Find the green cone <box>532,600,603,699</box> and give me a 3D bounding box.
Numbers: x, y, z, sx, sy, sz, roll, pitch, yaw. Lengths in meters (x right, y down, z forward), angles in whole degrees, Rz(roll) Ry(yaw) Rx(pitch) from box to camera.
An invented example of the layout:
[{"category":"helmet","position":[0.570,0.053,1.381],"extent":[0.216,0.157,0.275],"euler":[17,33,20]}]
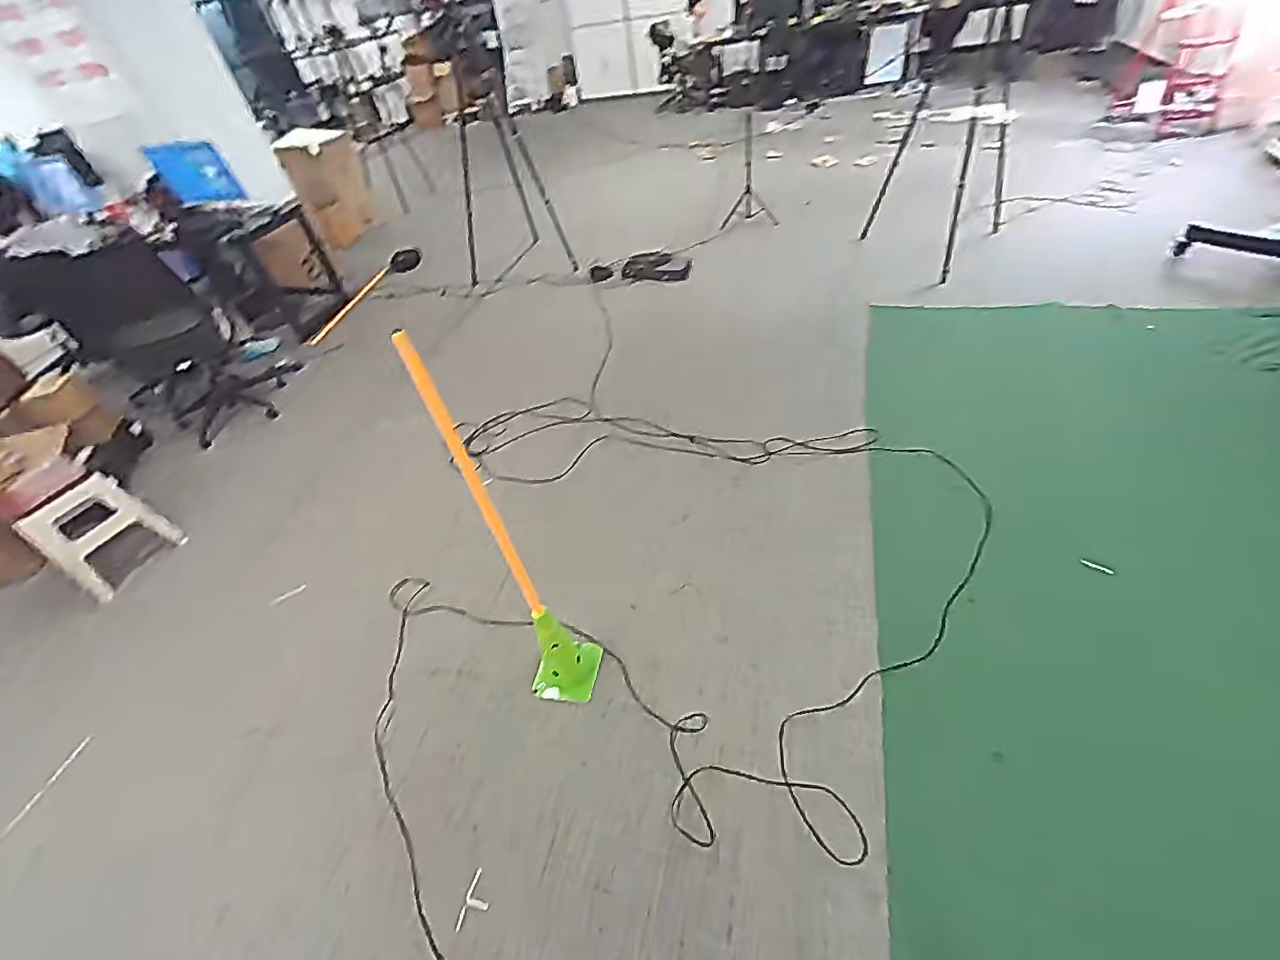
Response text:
[{"category":"green cone","position":[-0.257,0.488,1.647],"extent":[0.200,0.368,0.202],"euler":[3,44,14]}]
